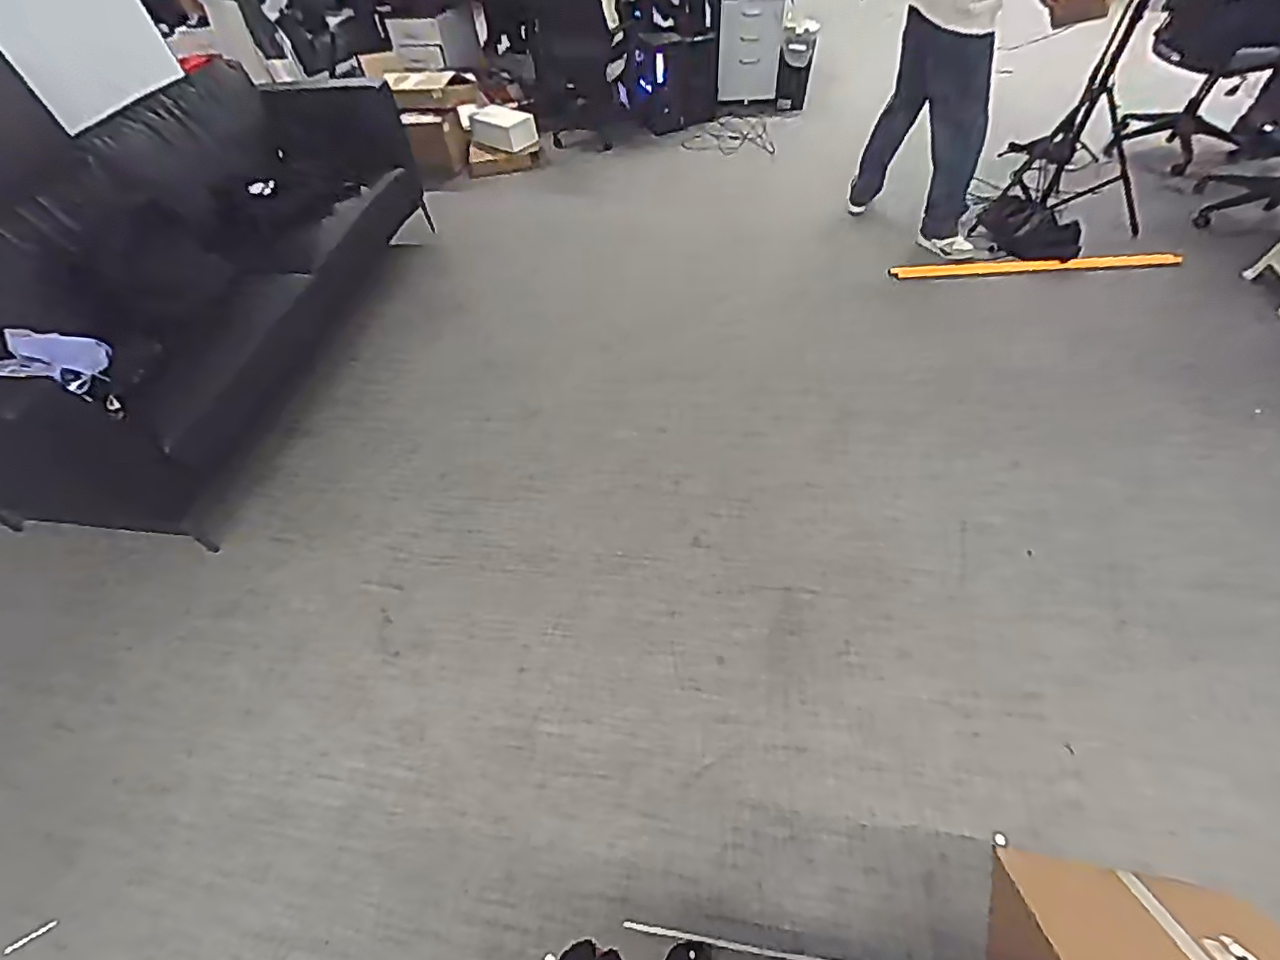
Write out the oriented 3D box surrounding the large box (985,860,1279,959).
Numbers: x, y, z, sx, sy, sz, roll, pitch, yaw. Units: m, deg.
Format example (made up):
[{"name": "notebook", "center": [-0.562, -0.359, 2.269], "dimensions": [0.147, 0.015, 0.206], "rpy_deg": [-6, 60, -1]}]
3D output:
[{"name": "large box", "center": [0.609, 0.717, 0.572], "dimensions": [0.320, 0.408, 0.320], "rpy_deg": [5, 90, 14]}]
